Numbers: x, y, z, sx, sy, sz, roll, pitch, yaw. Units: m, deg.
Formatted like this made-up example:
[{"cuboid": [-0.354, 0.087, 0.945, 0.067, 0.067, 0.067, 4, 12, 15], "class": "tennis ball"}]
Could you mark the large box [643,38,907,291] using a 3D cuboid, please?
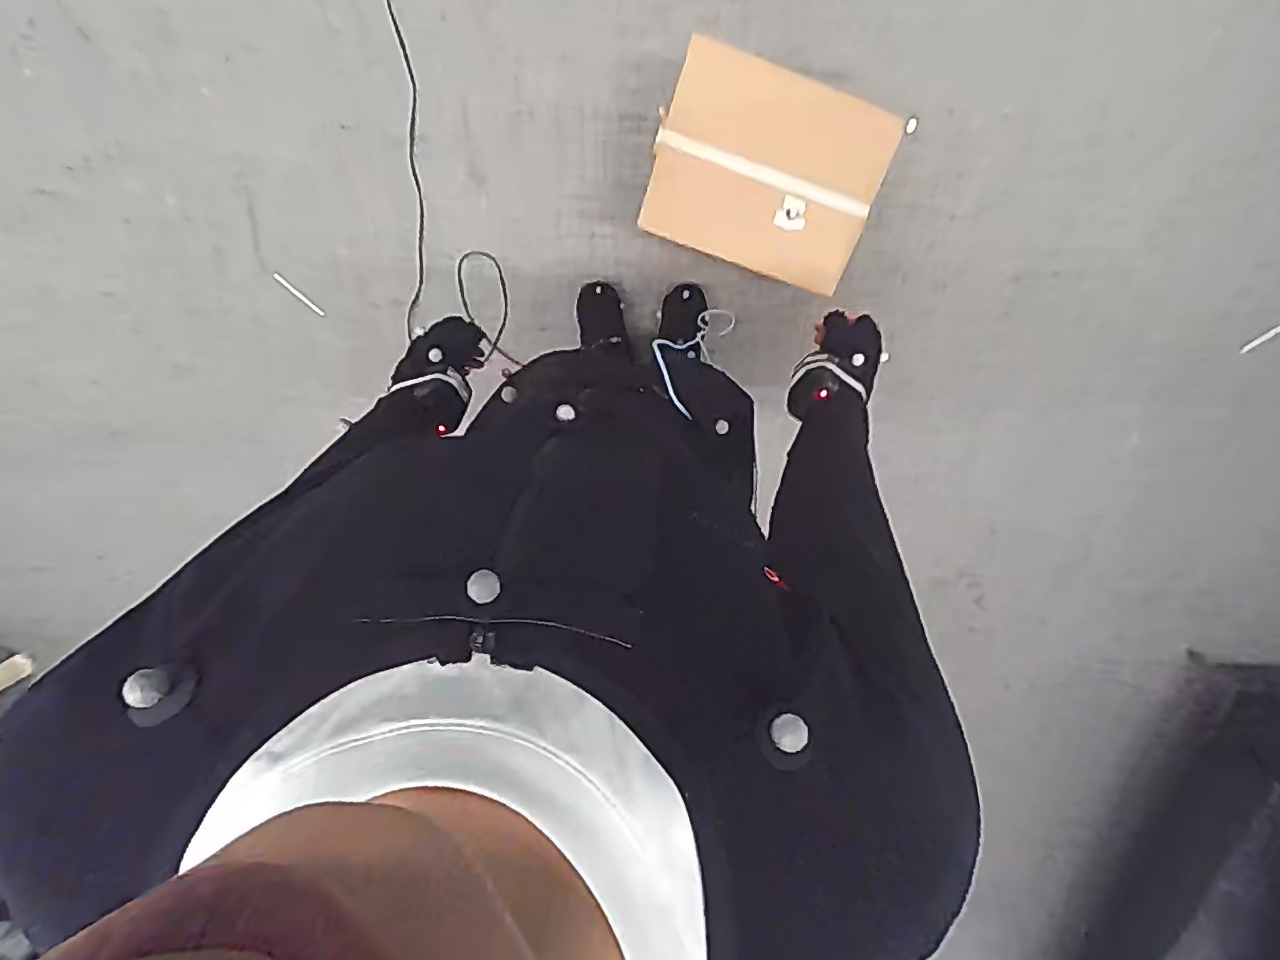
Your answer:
[{"cuboid": [0.236, -0.613, 1.116, 0.408, 0.320, 0.320, 17, 113, -7], "class": "large box"}]
